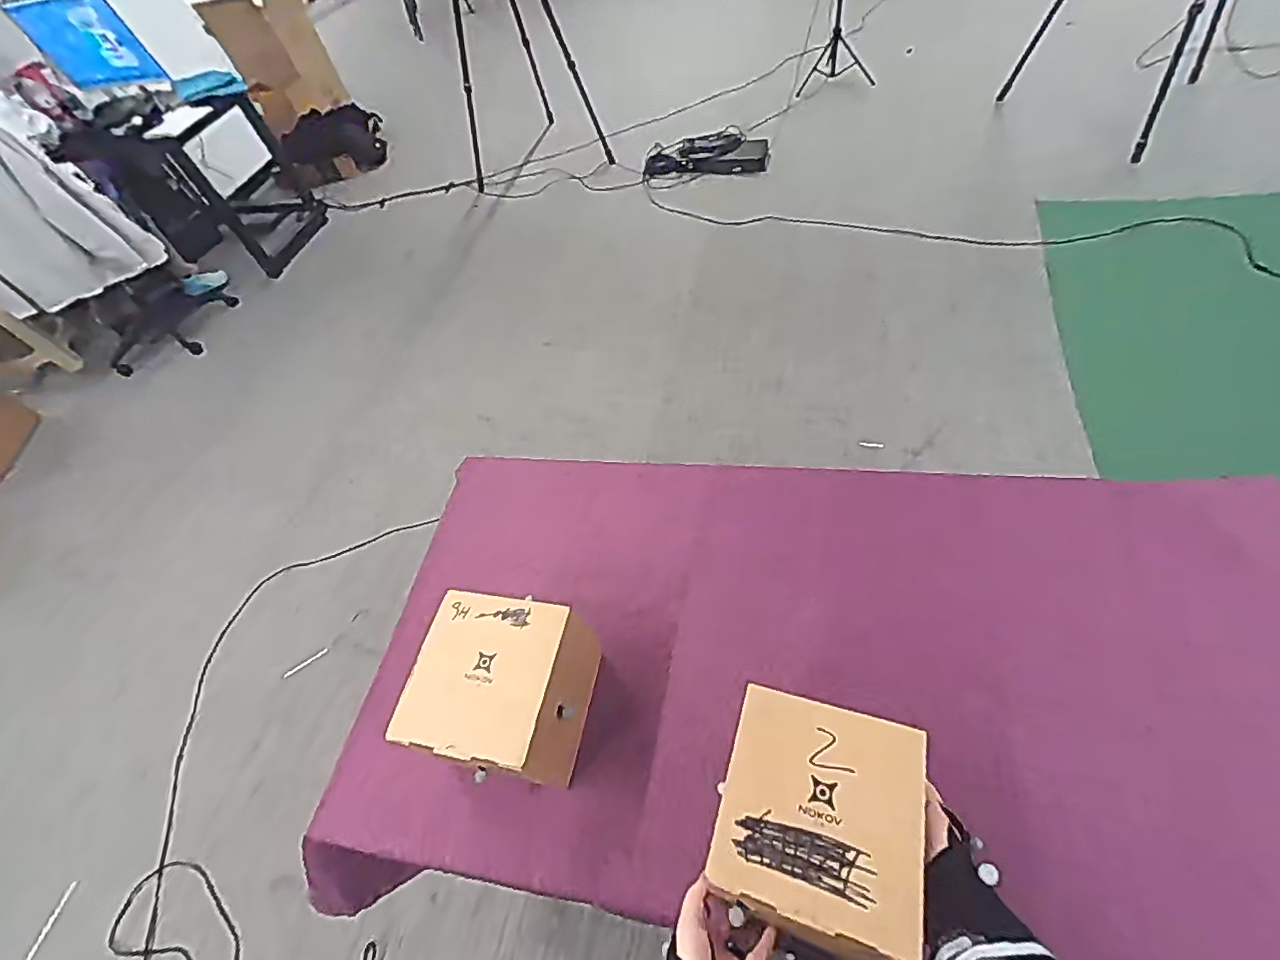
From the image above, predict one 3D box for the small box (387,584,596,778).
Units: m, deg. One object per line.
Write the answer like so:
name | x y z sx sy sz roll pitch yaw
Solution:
small box | -0.164 0.252 0.667 0.168 0.176 0.179 6 57 14
